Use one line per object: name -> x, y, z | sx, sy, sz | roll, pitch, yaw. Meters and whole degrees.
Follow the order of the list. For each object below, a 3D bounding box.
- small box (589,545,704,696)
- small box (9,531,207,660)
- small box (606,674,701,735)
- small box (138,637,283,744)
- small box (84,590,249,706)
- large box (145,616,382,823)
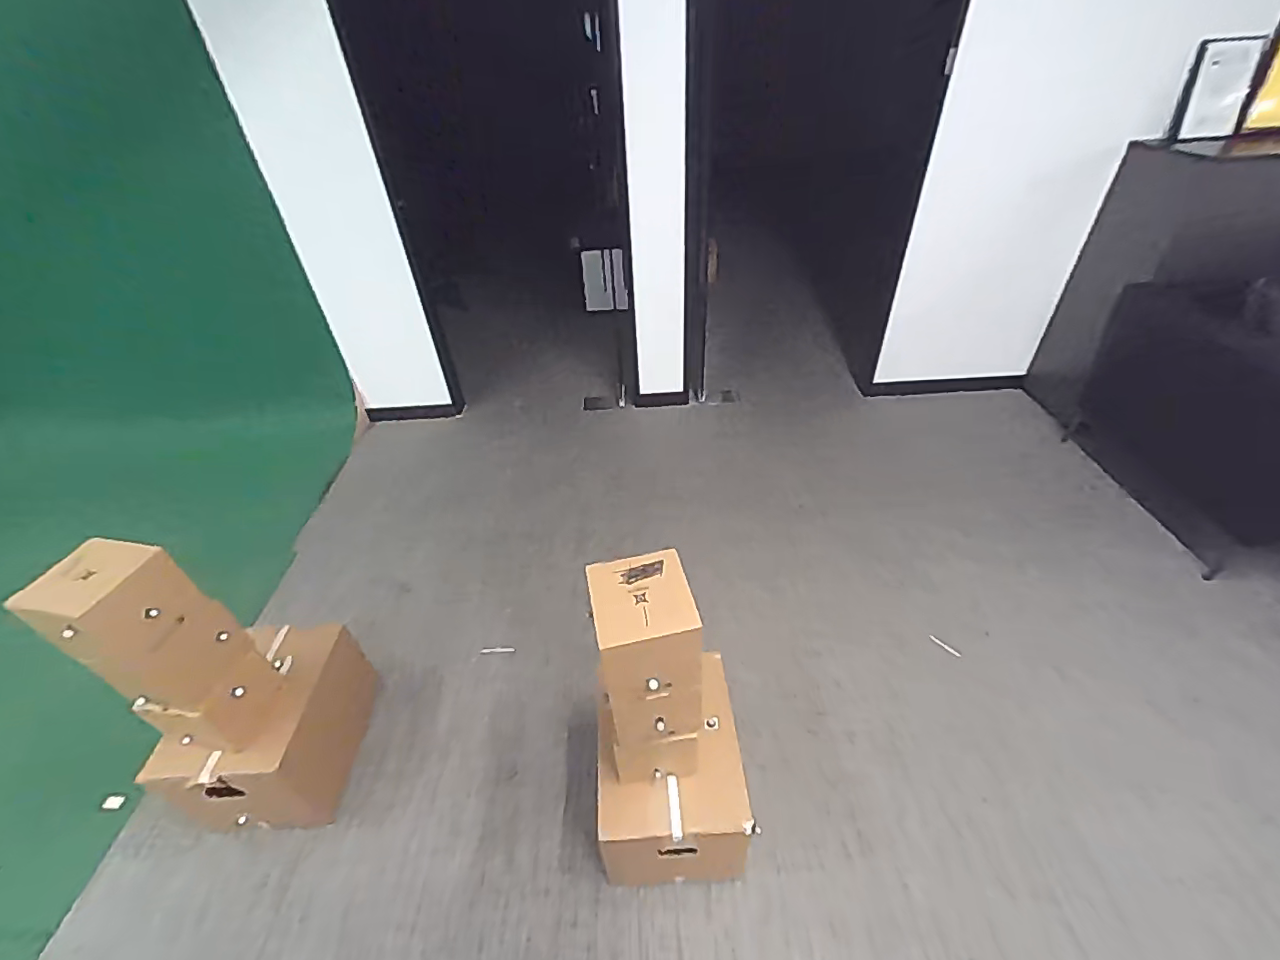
small box -> 0.009, 0.243, 0.941 | 0.168, 0.176, 0.179 | -10, 41, -6
small box -> -0.998, 0.223, 1.037 | 0.179, 0.176, 0.168 | 6, 41, 12
small box -> 0.020, 0.370, 1.046 | 0.168, 0.176, 0.179 | -10, 41, -6
small box -> -0.966, 0.476, 1.243 | 0.168, 0.176, 0.179 | 3, 41, 9
small box -> -0.980, 0.346, 1.146 | 0.168, 0.176, 0.179 | 5, 42, 12
large box -> -0.950, 0.627, 1.438 | 0.320, 0.320, 0.408 | -3, 39, 0
